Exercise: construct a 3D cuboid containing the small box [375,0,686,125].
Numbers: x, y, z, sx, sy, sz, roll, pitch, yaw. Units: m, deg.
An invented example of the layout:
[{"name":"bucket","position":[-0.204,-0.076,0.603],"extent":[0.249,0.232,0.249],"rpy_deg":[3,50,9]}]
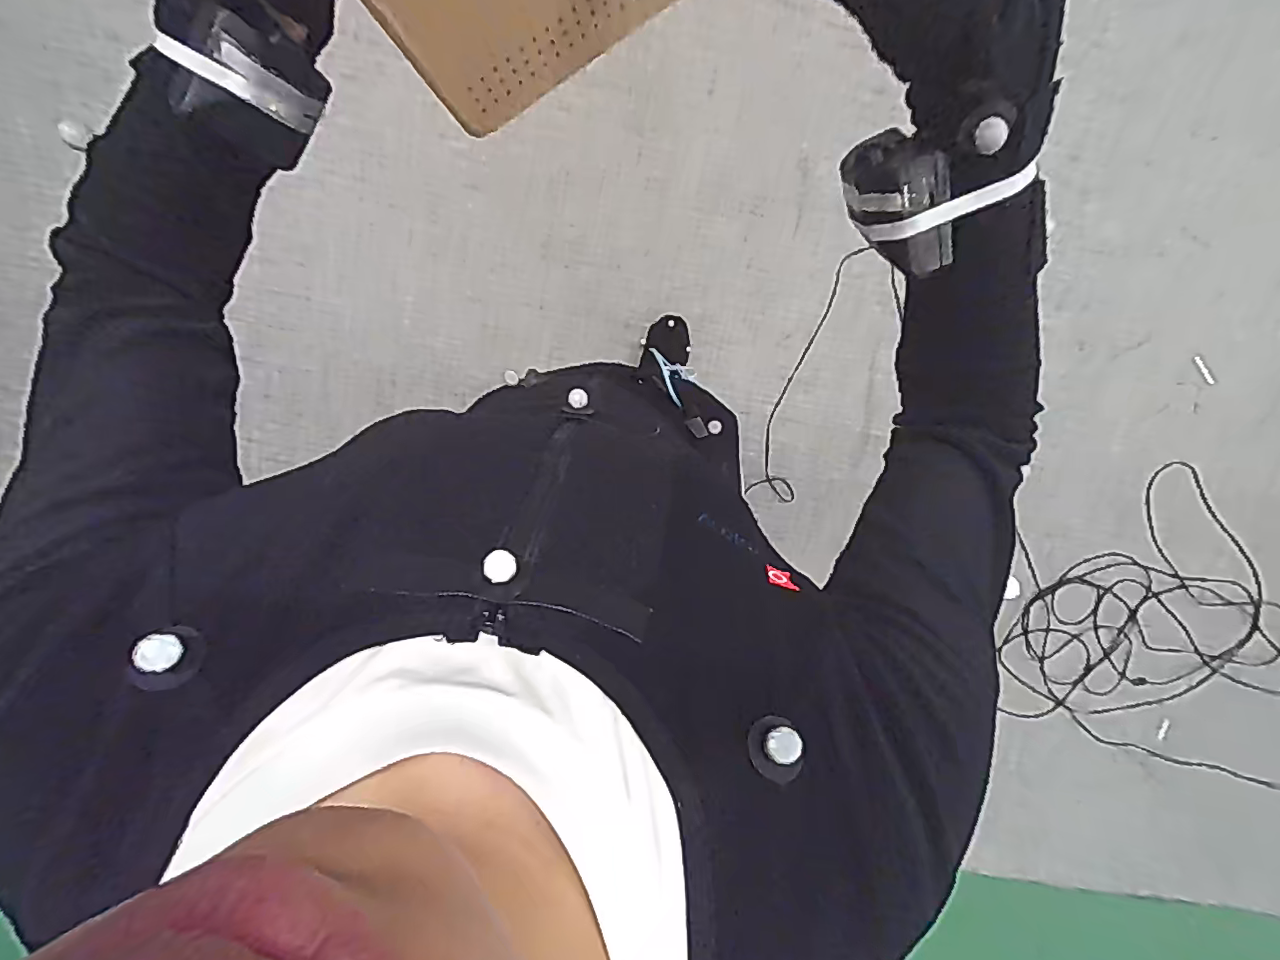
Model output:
[{"name":"small box","position":[-0.047,-0.263,0.158],"extent":[0.179,0.176,0.168],"rpy_deg":[-29,85,9]}]
